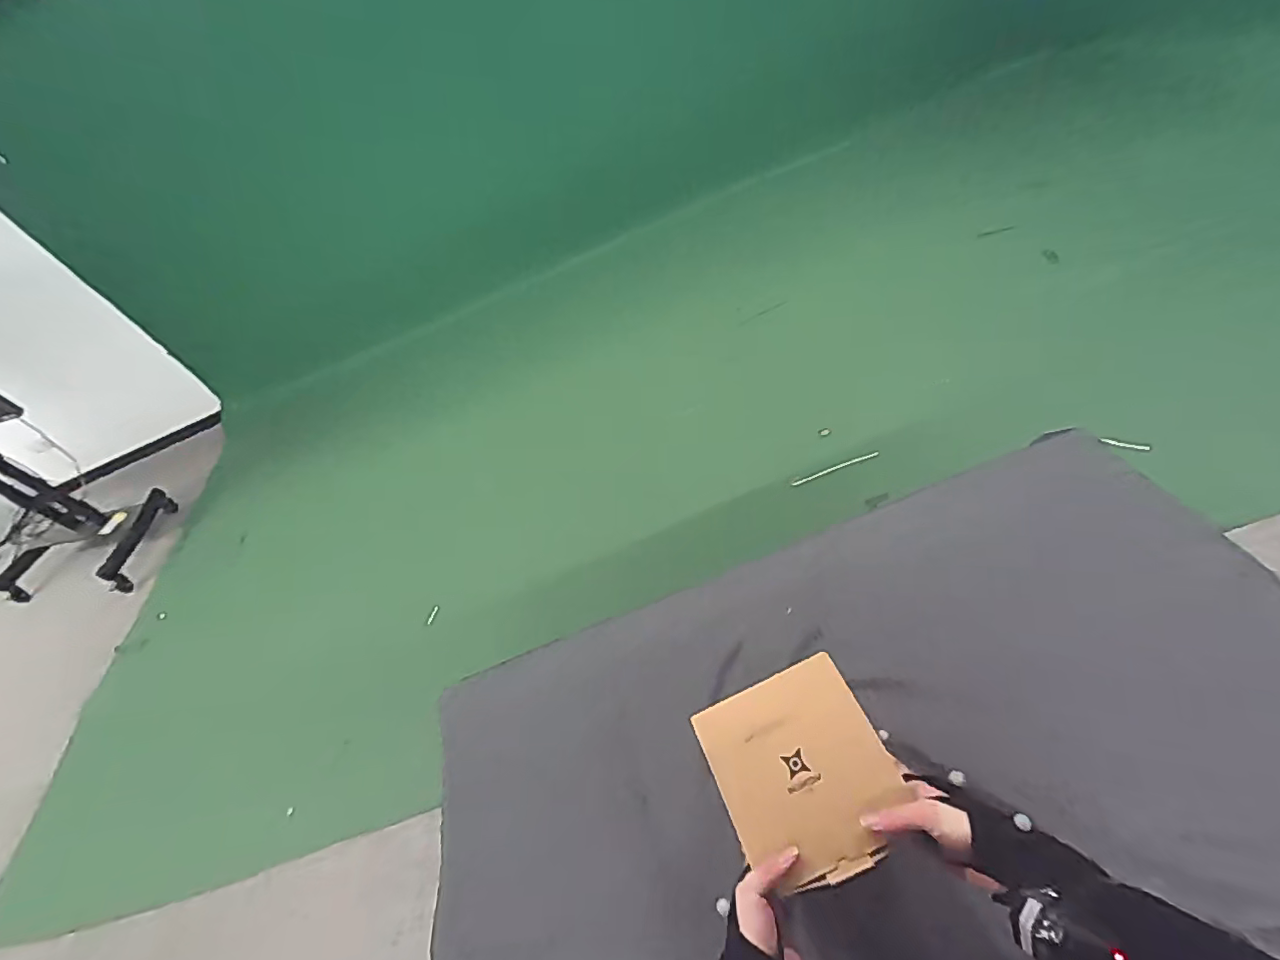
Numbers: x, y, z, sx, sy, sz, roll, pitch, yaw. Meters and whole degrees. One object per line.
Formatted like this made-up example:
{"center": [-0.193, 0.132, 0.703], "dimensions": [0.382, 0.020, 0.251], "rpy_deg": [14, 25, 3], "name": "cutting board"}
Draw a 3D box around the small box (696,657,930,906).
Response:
{"center": [0.186, 0.327, 0.603], "dimensions": [0.168, 0.176, 0.179], "rpy_deg": [-28, 55, 2], "name": "small box"}
